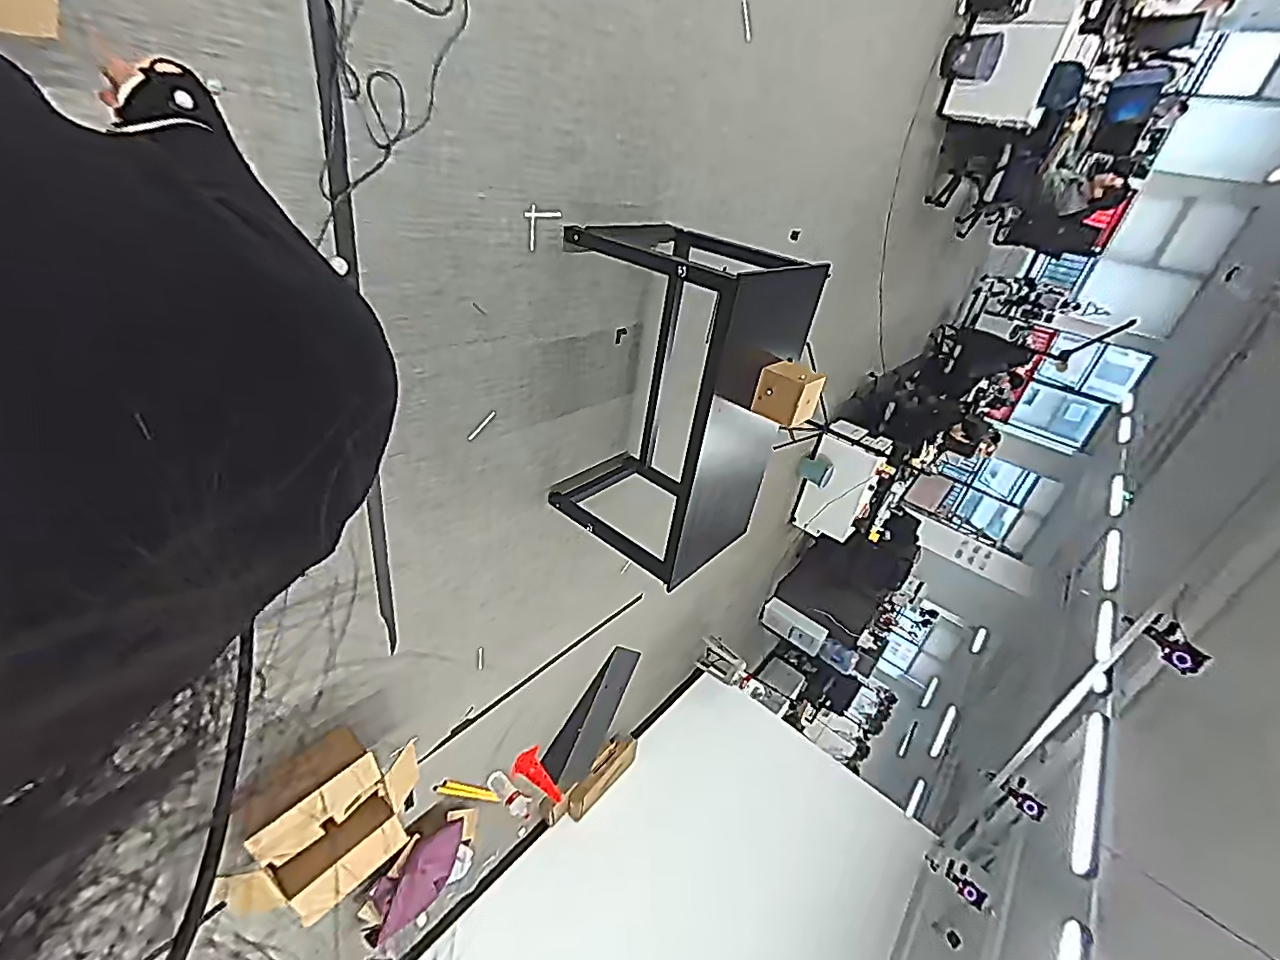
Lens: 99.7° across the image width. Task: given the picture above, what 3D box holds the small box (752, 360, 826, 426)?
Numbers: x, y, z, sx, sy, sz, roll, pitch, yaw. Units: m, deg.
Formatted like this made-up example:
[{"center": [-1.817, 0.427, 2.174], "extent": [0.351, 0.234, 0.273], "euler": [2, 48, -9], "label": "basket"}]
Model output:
[{"center": [0.524, -0.314, 1.911], "extent": [0.179, 0.176, 0.168], "euler": [-26, 136, -44], "label": "small box"}]
